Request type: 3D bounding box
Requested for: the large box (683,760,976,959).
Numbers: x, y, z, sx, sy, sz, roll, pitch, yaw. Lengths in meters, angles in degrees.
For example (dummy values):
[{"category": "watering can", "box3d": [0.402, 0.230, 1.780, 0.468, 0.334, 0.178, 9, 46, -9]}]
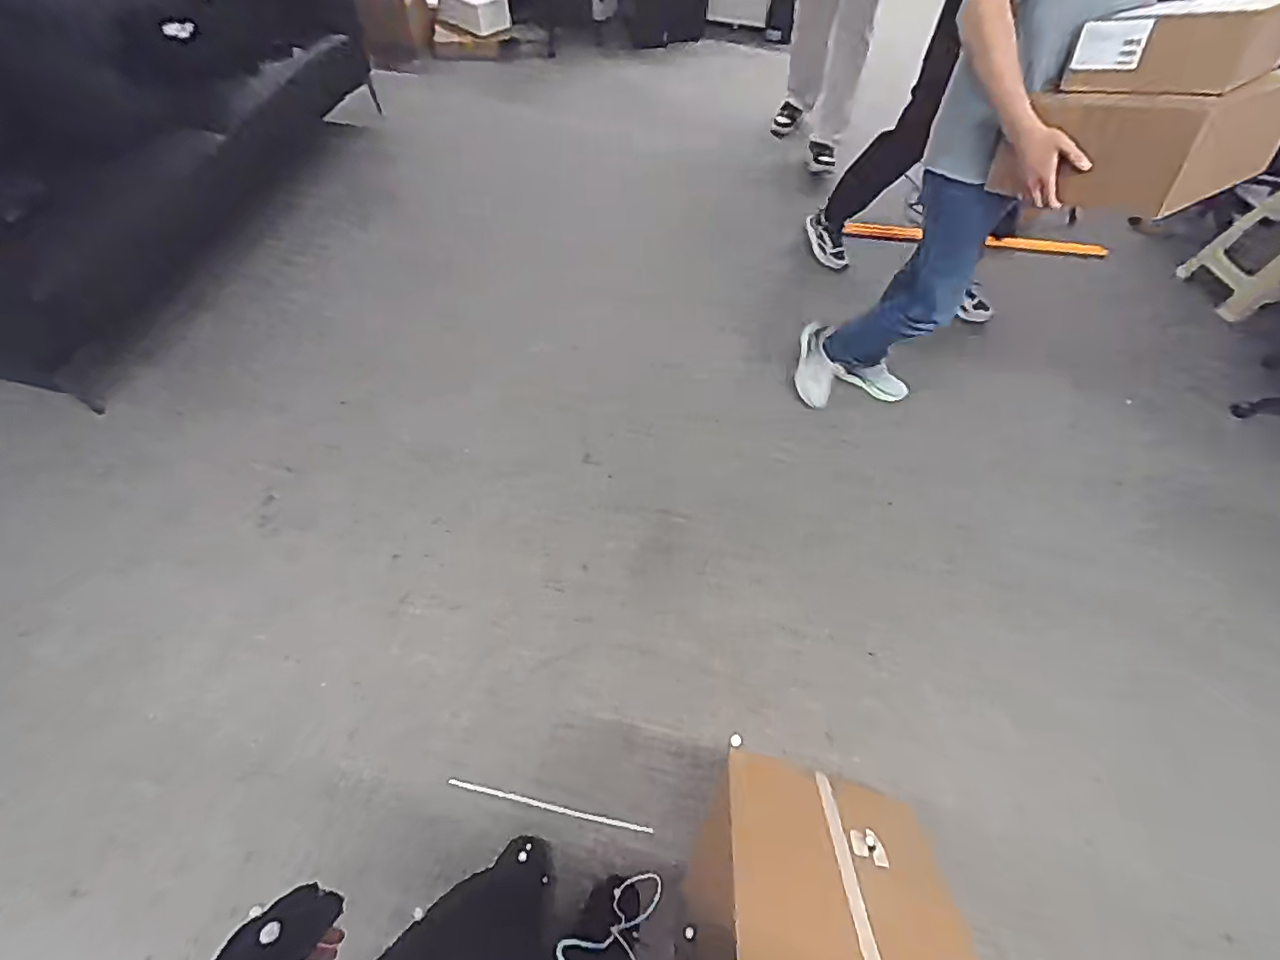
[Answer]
[{"category": "large box", "box3d": [0.239, 0.692, 0.742, 0.320, 0.408, 0.320, 18, 102, 5]}]
